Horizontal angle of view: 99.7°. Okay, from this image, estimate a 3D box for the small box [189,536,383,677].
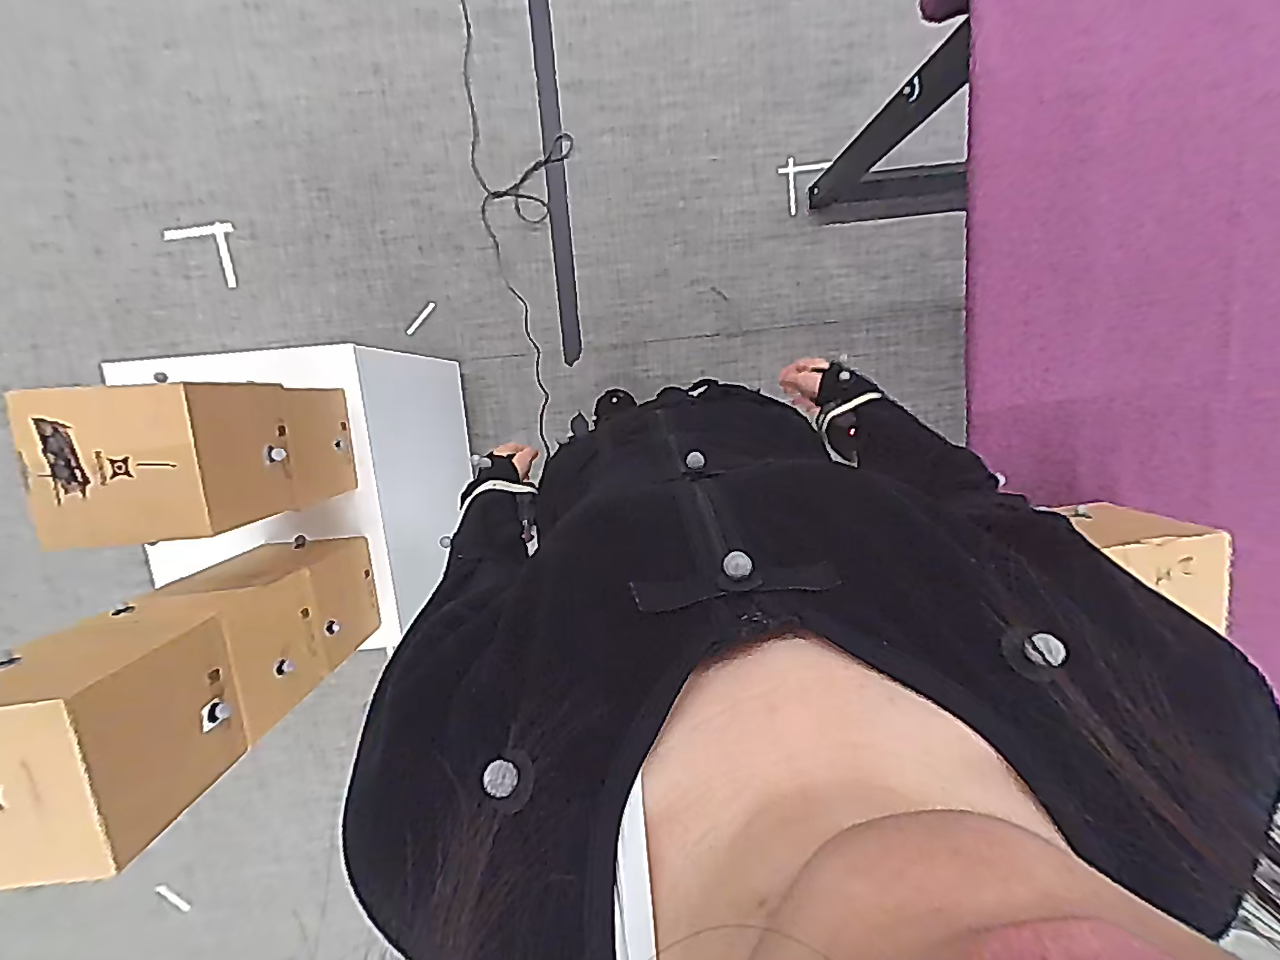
[{"bbox_3d":[-0.530,0.190,0.834,0.179,0.176,0.168,-4,100,1],"label":"small box"}]

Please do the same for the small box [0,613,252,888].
[{"bbox_3d":[-0.524,0.241,0.513,0.179,0.176,0.168,-6,100,-1],"label":"small box"}]

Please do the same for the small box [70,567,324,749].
[{"bbox_3d":[-0.525,0.216,0.674,0.179,0.176,0.168,-6,99,0],"label":"small box"}]

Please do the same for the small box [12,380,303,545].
[{"bbox_3d":[-0.537,-0.028,0.631,0.179,0.176,0.168,-3,100,-2],"label":"small box"}]

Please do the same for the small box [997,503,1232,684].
[{"bbox_3d":[0.607,0.139,0.715,0.168,0.176,0.179,-7,99,-1],"label":"small box"}]
